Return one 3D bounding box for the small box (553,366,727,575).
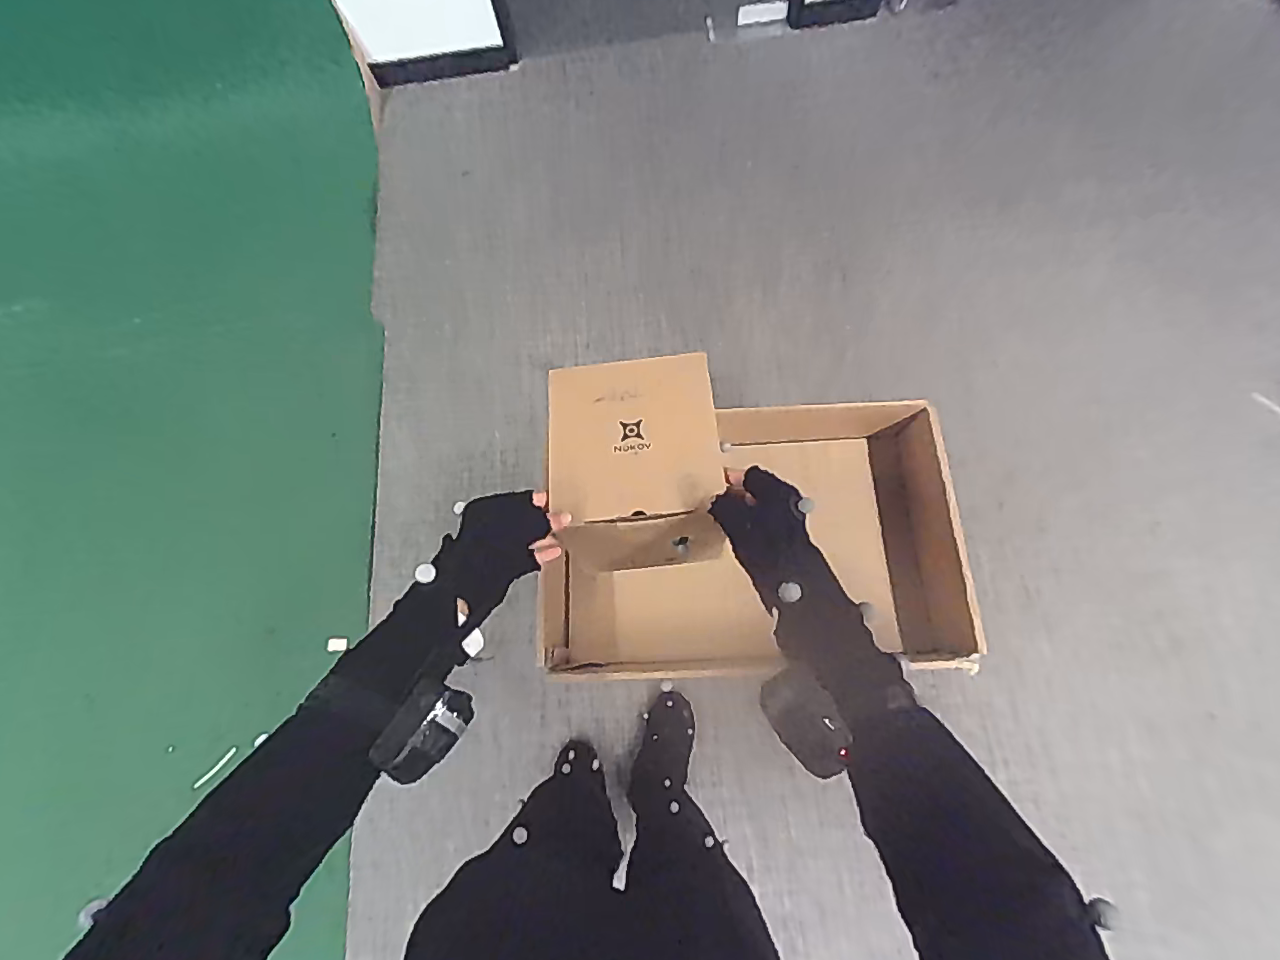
[{"bbox_3d":[0.002,0.001,0.604,0.168,0.176,0.179,-6,64,2],"label":"small box"}]
